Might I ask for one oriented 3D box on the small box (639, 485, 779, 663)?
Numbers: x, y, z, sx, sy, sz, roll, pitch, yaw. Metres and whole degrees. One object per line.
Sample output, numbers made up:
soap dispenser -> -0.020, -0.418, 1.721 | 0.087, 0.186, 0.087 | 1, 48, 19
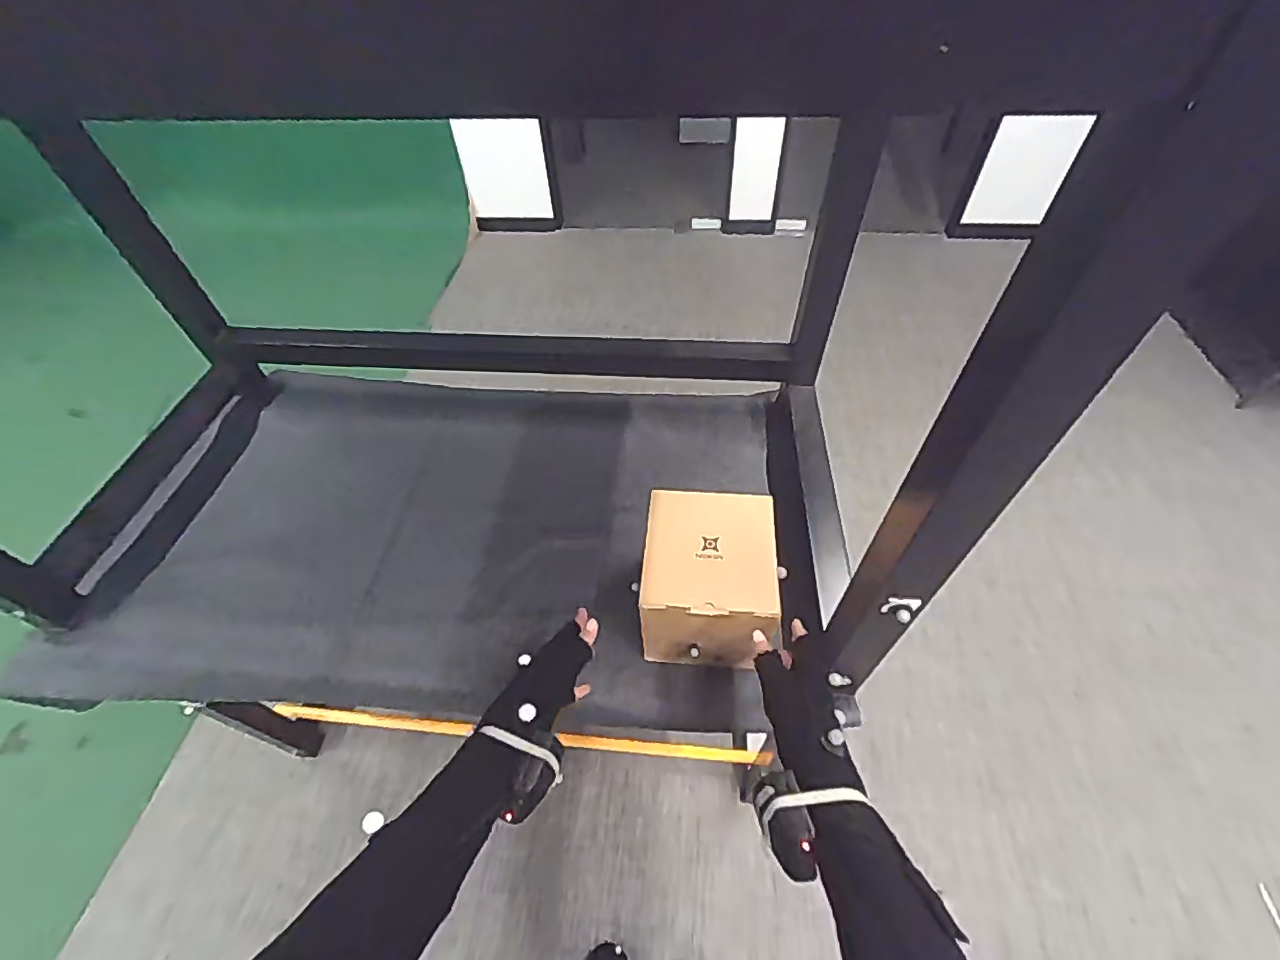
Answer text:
small box -> 0.090, 0.129, 0.740 | 0.168, 0.176, 0.179 | 3, 51, 6
